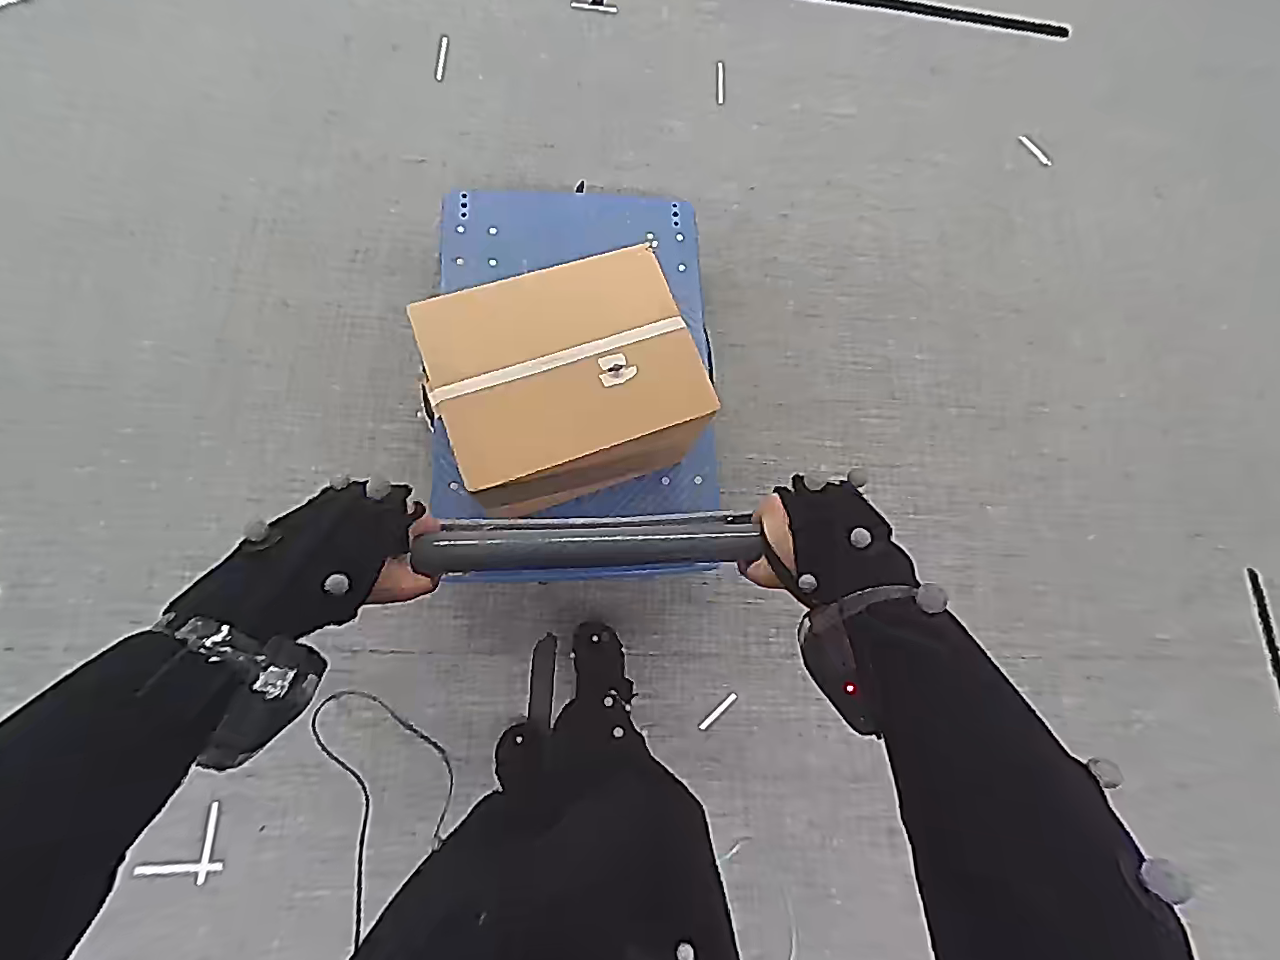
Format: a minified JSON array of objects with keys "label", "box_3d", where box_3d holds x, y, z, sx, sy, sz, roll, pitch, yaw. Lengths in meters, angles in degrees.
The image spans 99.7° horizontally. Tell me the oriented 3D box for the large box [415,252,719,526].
[{"label":"large box","box_3d":[-0.130,-0.145,0.982,0.408,0.320,0.320,-19,81,-13]}]
